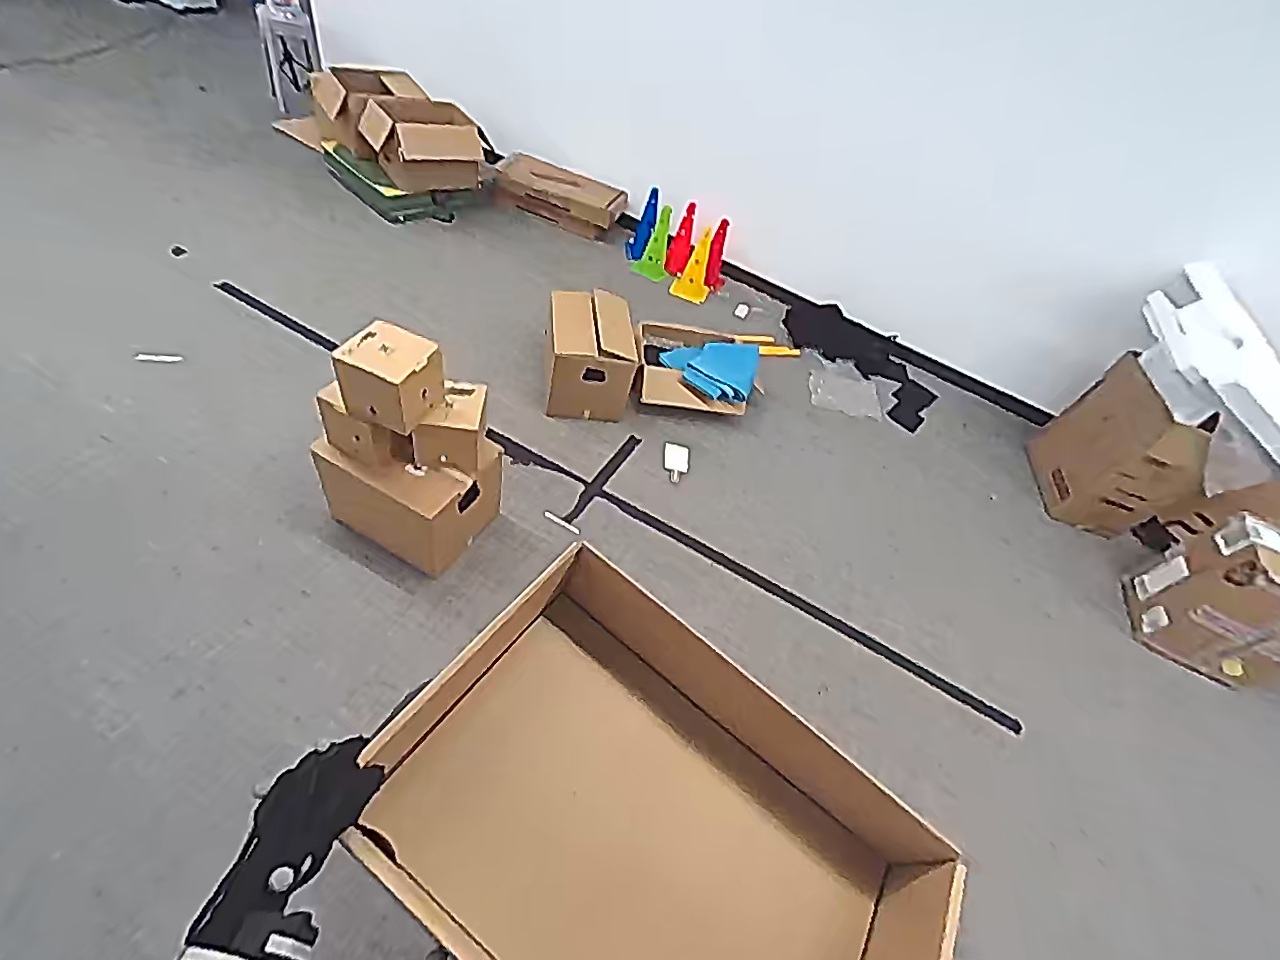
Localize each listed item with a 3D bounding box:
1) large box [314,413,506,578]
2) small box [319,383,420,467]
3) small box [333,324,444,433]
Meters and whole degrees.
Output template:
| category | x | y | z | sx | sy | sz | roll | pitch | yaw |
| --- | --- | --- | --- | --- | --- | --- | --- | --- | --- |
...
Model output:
| category | x | y | z | sx | sy | sz | roll | pitch | yaw |
| --- | --- | --- | --- | --- | --- | --- | --- | --- | --- |
| large box | -0.662 | 0.020 | 1.610 | 0.408 | 0.320 | 0.320 | 28 | 49 | 7 |
| small box | -0.703 | -0.165 | 1.430 | 0.168 | 0.176 | 0.179 | 29 | 47 | 6 |
| small box | -0.593 | -0.239 | 1.304 | 0.179 | 0.176 | 0.168 | 24 | 48 | 5 |
